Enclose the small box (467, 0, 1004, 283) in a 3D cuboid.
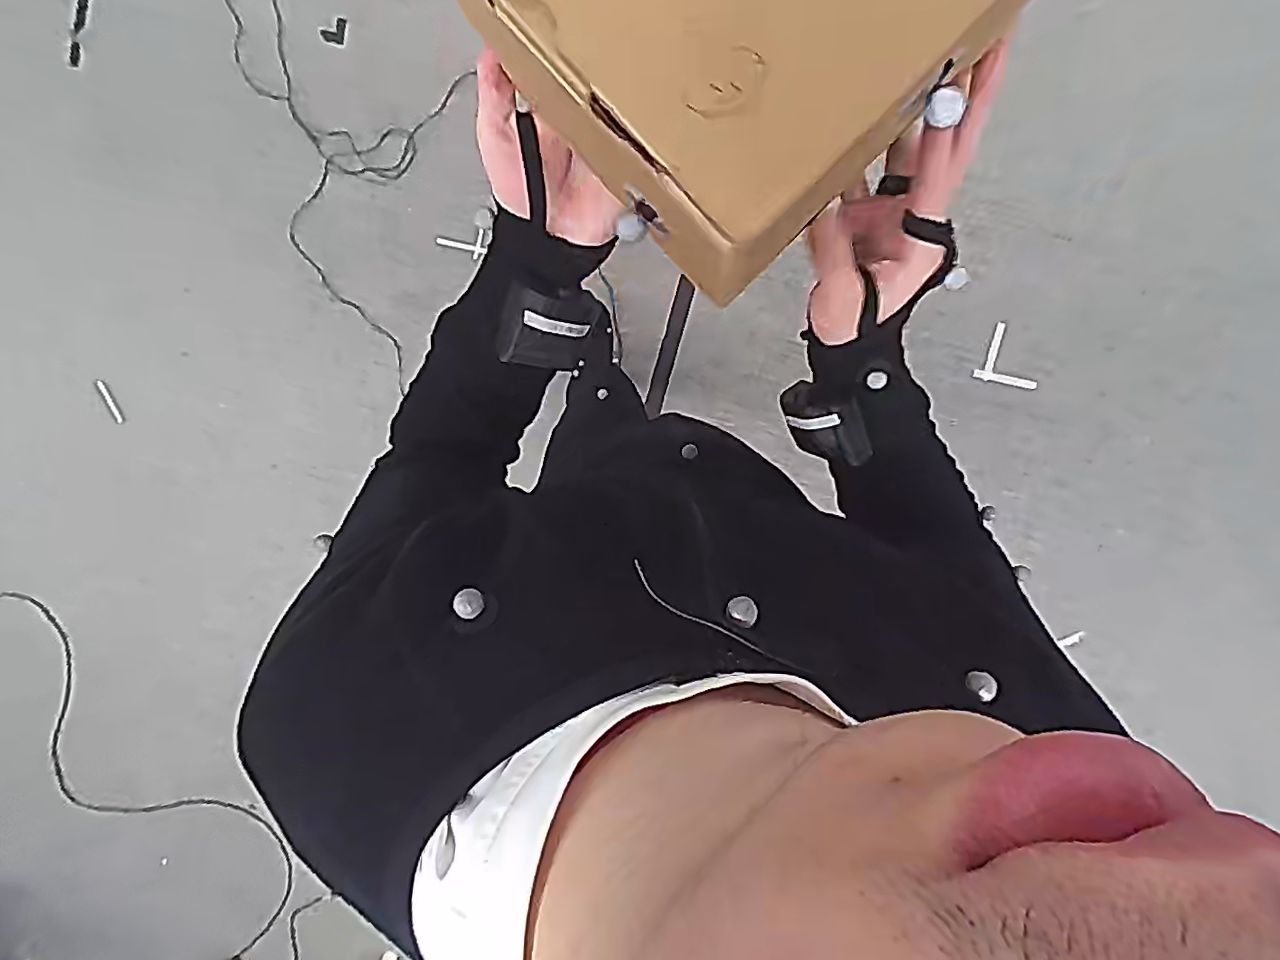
[{"bbox_3d":[0.040,-0.203,0.213,0.168,0.176,0.179,44,103,-5],"label":"small box"}]
